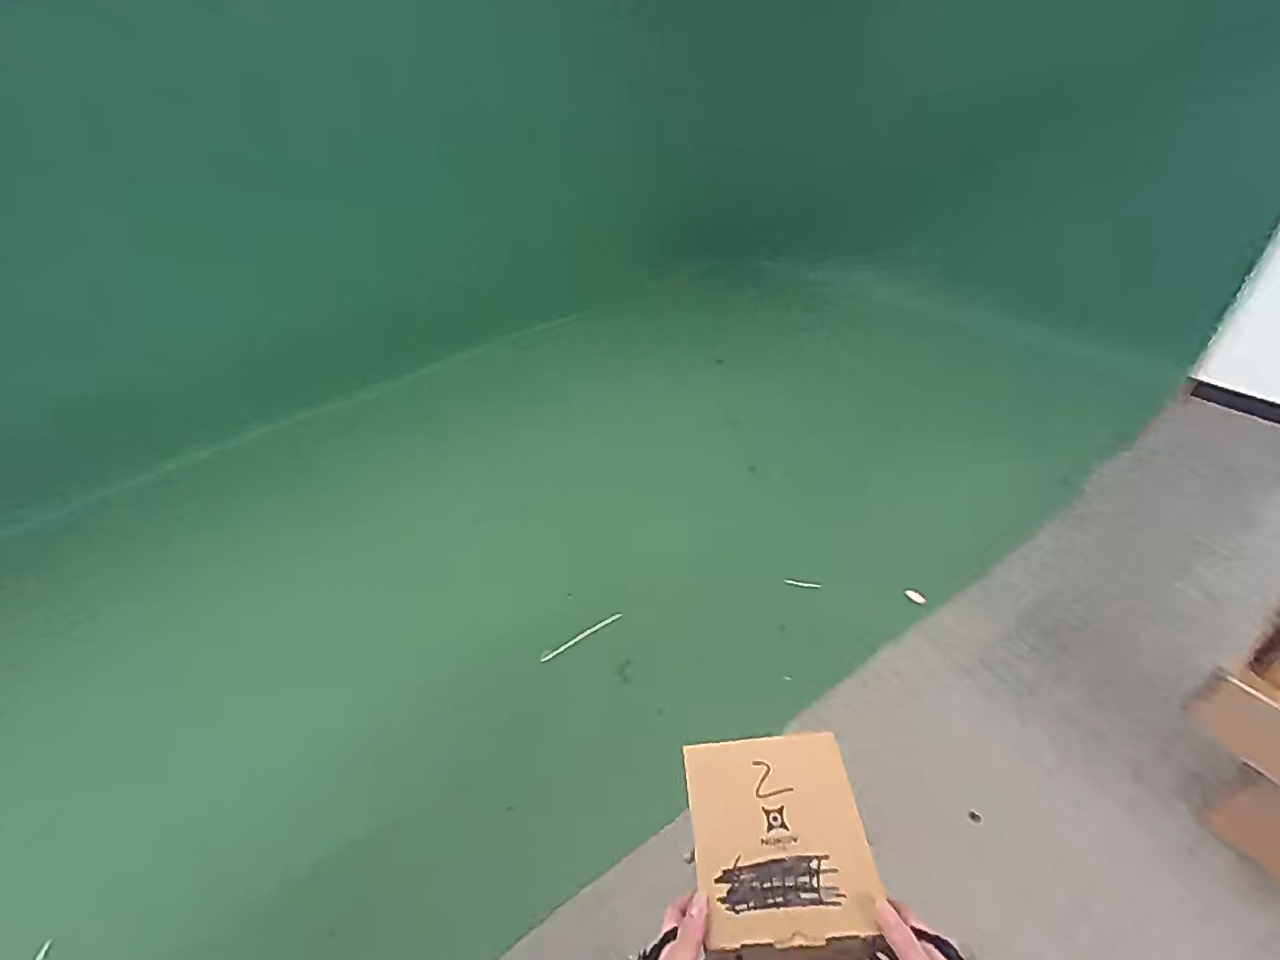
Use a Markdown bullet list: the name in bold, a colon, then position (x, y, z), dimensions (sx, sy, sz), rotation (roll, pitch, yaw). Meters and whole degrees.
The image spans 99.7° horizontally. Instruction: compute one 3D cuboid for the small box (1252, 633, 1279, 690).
- **small box**: position (1.411, 0.357, 1.085), dimensions (0.179, 0.176, 0.168), rotation (-26, 44, -18)
